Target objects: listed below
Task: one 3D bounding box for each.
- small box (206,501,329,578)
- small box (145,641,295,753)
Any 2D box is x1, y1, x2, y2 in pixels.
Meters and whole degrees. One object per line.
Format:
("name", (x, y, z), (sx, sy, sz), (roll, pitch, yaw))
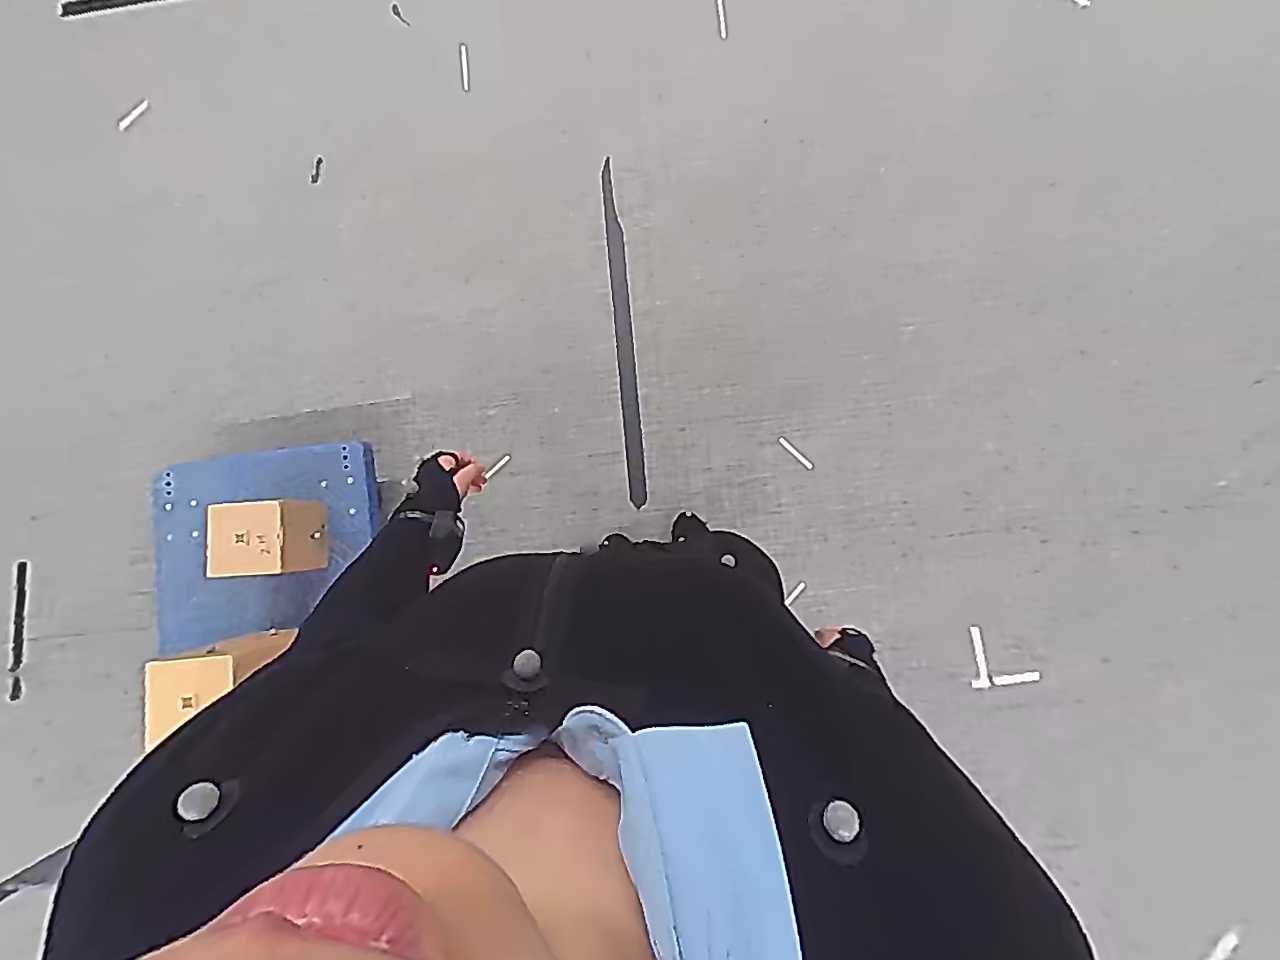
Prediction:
("small box", (-0.873, 0.140, 1.278), (0.179, 0.176, 0.168), (-4, 85, 3))
("small box", (-0.834, 0.426, 1.085), (0.179, 0.176, 0.168), (-6, 84, 1))
